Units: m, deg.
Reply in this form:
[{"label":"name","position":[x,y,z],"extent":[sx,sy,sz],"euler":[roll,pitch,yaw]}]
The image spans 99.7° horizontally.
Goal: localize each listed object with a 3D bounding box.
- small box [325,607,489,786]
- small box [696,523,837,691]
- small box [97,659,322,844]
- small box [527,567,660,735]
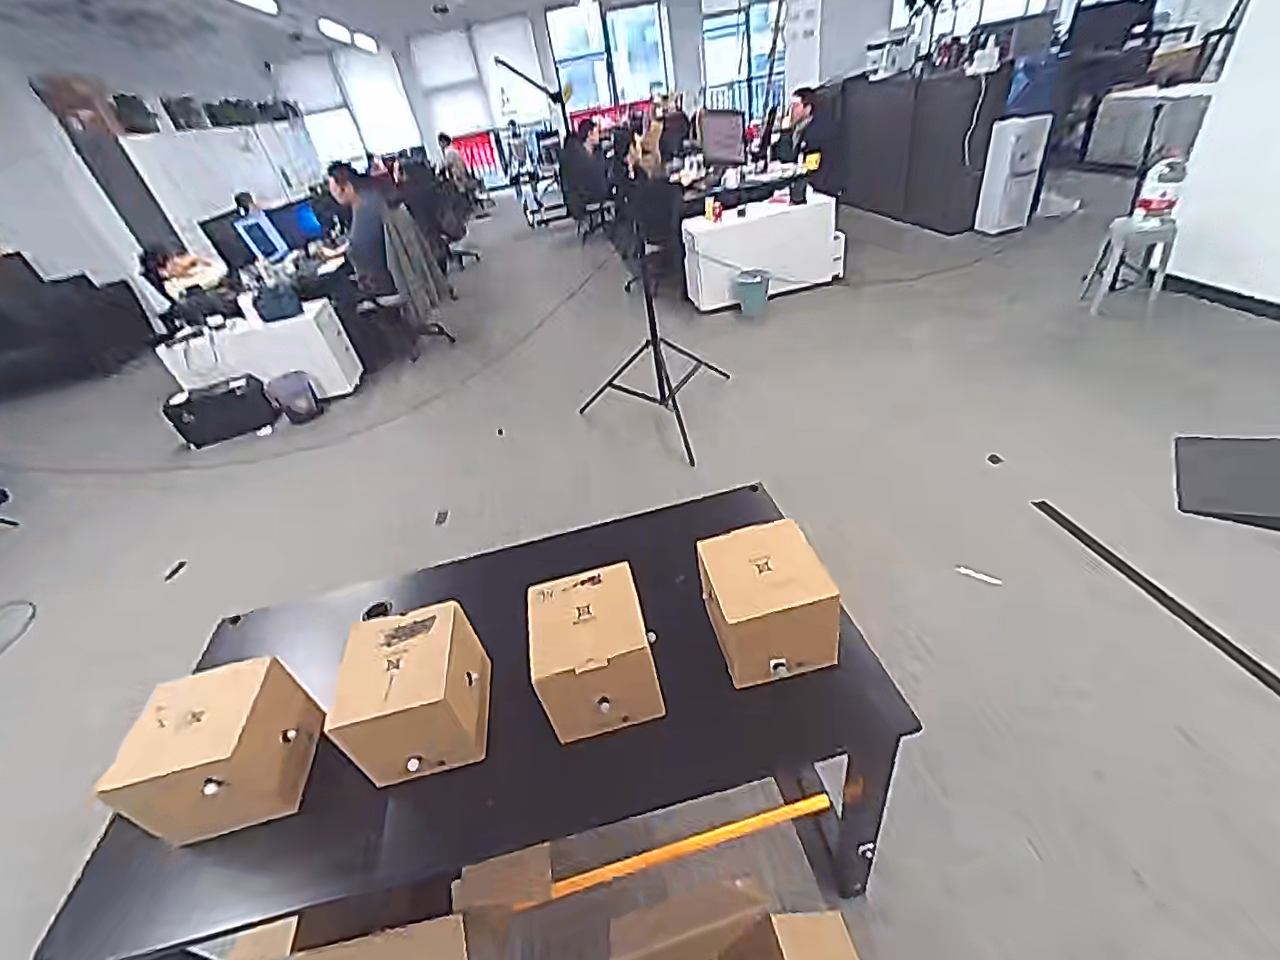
[{"label":"small box","position":[-0.341,0.331,0.834],"extent":[0.168,0.176,0.179],"euler":[-14,36,-3]},{"label":"small box","position":[0.196,0.201,0.865],"extent":[0.168,0.176,0.179],"euler":[-15,36,-2]},{"label":"small box","position":[-0.615,0.404,0.808],"extent":[0.179,0.176,0.168],"euler":[-14,35,-5]},{"label":"small box","position":[-0.072,0.271,0.844],"extent":[0.168,0.176,0.179],"euler":[-14,36,-3]}]
